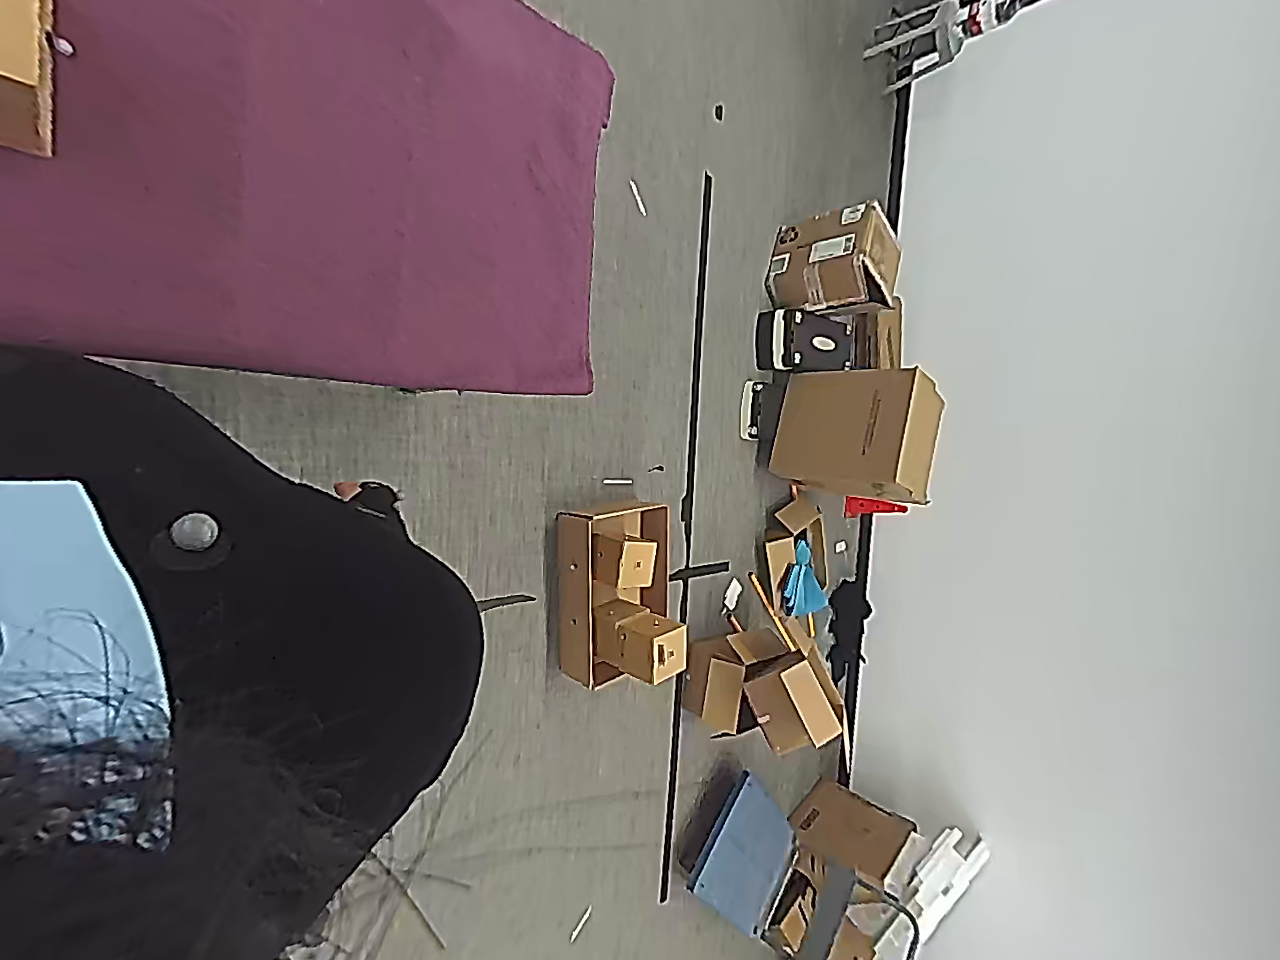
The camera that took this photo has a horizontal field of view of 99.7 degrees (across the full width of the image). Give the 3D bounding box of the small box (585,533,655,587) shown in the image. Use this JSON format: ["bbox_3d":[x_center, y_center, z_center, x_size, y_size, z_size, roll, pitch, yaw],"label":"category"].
[{"bbox_3d":[-0.074,0.289,1.980,0.179,0.176,0.168,8,91,-46],"label":"small box"}]

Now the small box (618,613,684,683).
[{"bbox_3d":[0.035,0.582,1.891,0.179,0.176,0.168,-6,100,-46],"label":"small box"}]

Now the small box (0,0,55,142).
[{"bbox_3d":[-0.572,-0.390,0.407,0.179,0.176,0.168,1,94,-46],"label":"small box"}]
